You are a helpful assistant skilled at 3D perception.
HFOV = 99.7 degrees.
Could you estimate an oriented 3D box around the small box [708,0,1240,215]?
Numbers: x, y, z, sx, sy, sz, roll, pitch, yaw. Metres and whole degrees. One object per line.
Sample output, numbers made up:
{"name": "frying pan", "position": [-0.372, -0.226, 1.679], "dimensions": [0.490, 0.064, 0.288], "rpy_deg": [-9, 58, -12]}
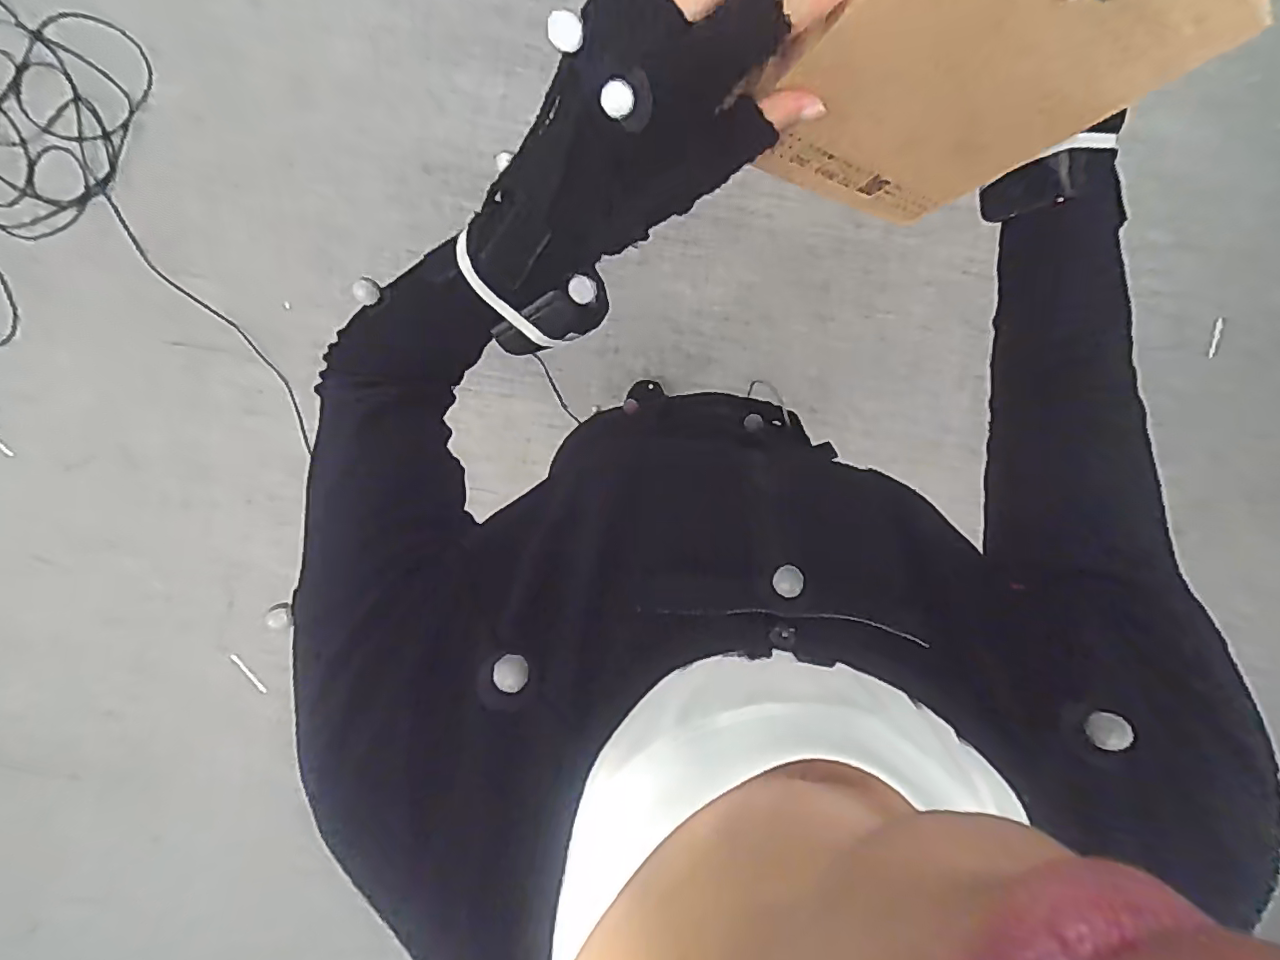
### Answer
{"name": "small box", "position": [0.145, -0.275, 0.271], "dimensions": [0.168, 0.176, 0.179], "rpy_deg": [1, 83, -31]}
